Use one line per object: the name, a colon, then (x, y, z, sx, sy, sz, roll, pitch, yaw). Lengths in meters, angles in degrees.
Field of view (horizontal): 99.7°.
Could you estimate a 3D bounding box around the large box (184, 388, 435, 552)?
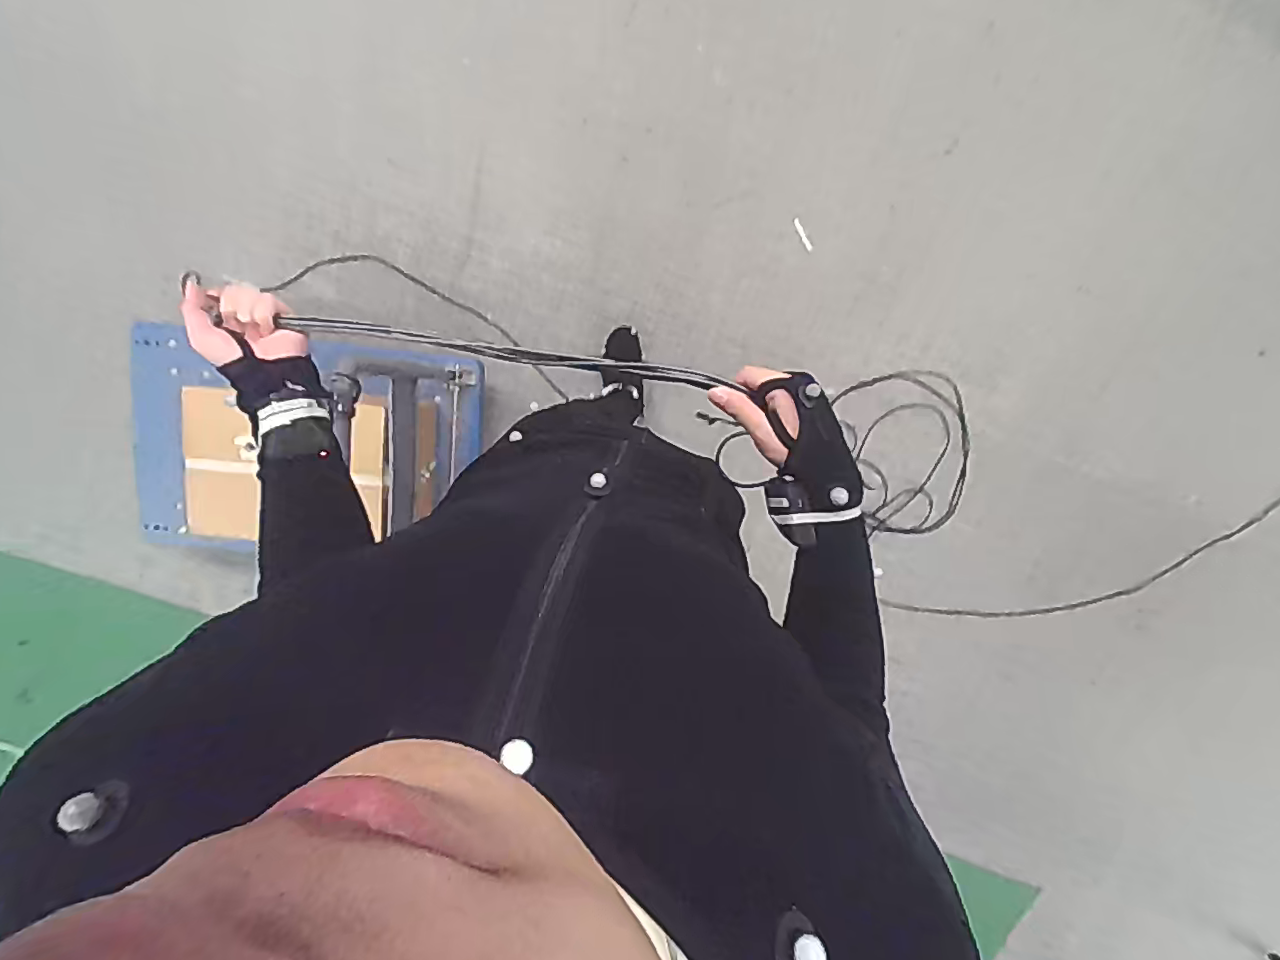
large box: (-0.727, -0.040, 1.253, 0.408, 0.320, 0.320, 6, 99, -2)
